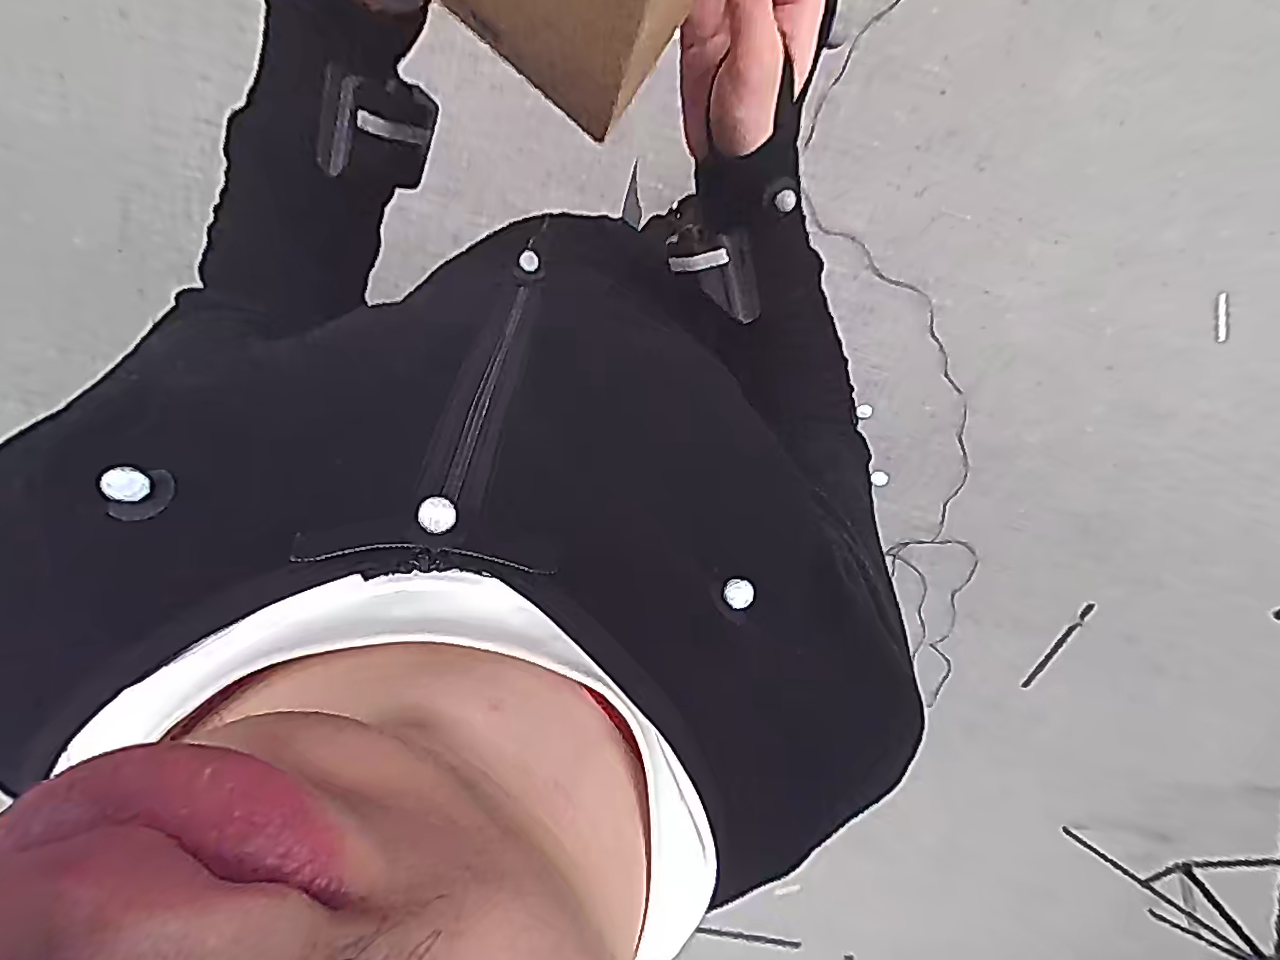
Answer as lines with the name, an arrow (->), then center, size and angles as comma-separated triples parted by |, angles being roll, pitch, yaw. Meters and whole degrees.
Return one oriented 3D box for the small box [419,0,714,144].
small box -> -0.019, -0.248, 0.161 | 0.168, 0.176, 0.179 | 32, 101, -17
